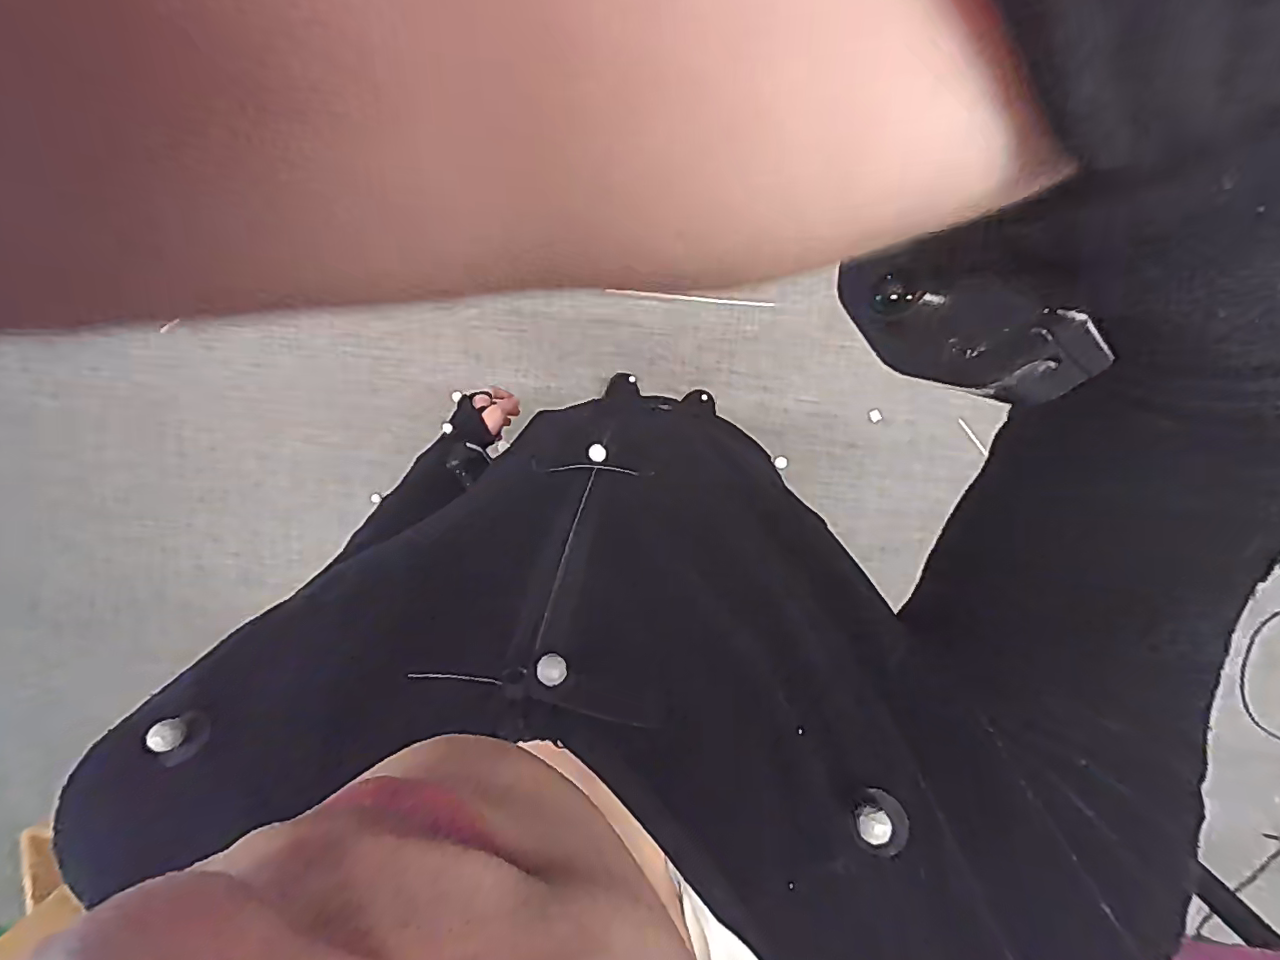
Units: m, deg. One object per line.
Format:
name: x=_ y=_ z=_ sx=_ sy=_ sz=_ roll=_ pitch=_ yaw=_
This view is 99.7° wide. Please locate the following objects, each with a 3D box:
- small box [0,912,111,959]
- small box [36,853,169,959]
small box: x=-1.356 y=1.119 z=1.213 sx=0.179 sy=0.176 sz=0.168 roll=7 pitch=99 yaw=-1
small box: x=-1.355 y=1.091 z=1.372 sx=0.179 sy=0.176 sz=0.168 roll=8 pitch=100 yaw=0
